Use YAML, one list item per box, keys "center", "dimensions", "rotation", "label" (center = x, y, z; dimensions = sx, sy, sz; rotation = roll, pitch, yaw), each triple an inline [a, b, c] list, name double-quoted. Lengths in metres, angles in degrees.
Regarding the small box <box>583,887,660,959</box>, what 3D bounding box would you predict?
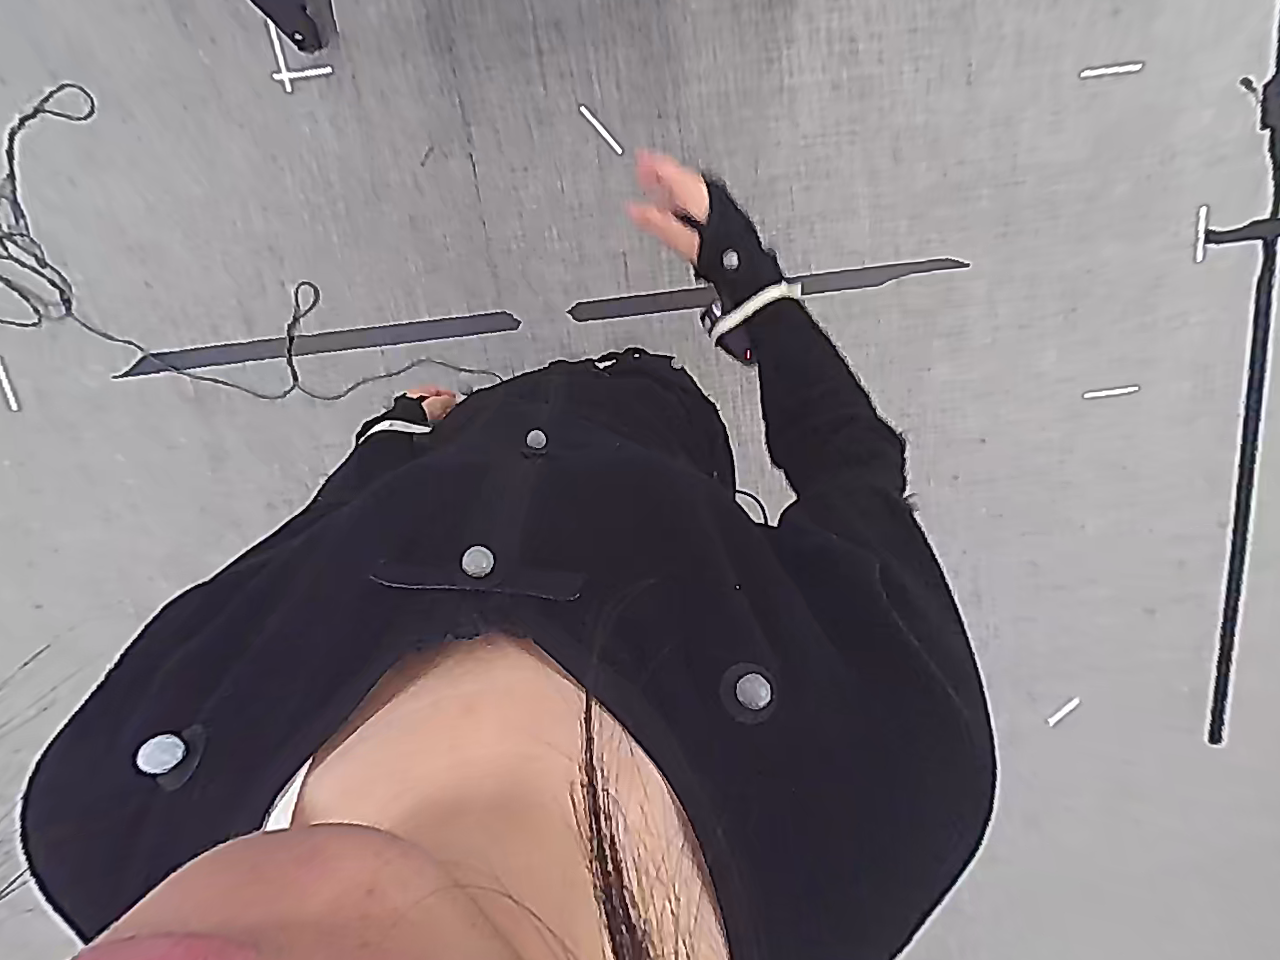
- center: [-0.044, 1.171, 1.364]
  dimensions: [0.179, 0.176, 0.168]
  rotation: [-8, 101, 0]
  label: "small box"
